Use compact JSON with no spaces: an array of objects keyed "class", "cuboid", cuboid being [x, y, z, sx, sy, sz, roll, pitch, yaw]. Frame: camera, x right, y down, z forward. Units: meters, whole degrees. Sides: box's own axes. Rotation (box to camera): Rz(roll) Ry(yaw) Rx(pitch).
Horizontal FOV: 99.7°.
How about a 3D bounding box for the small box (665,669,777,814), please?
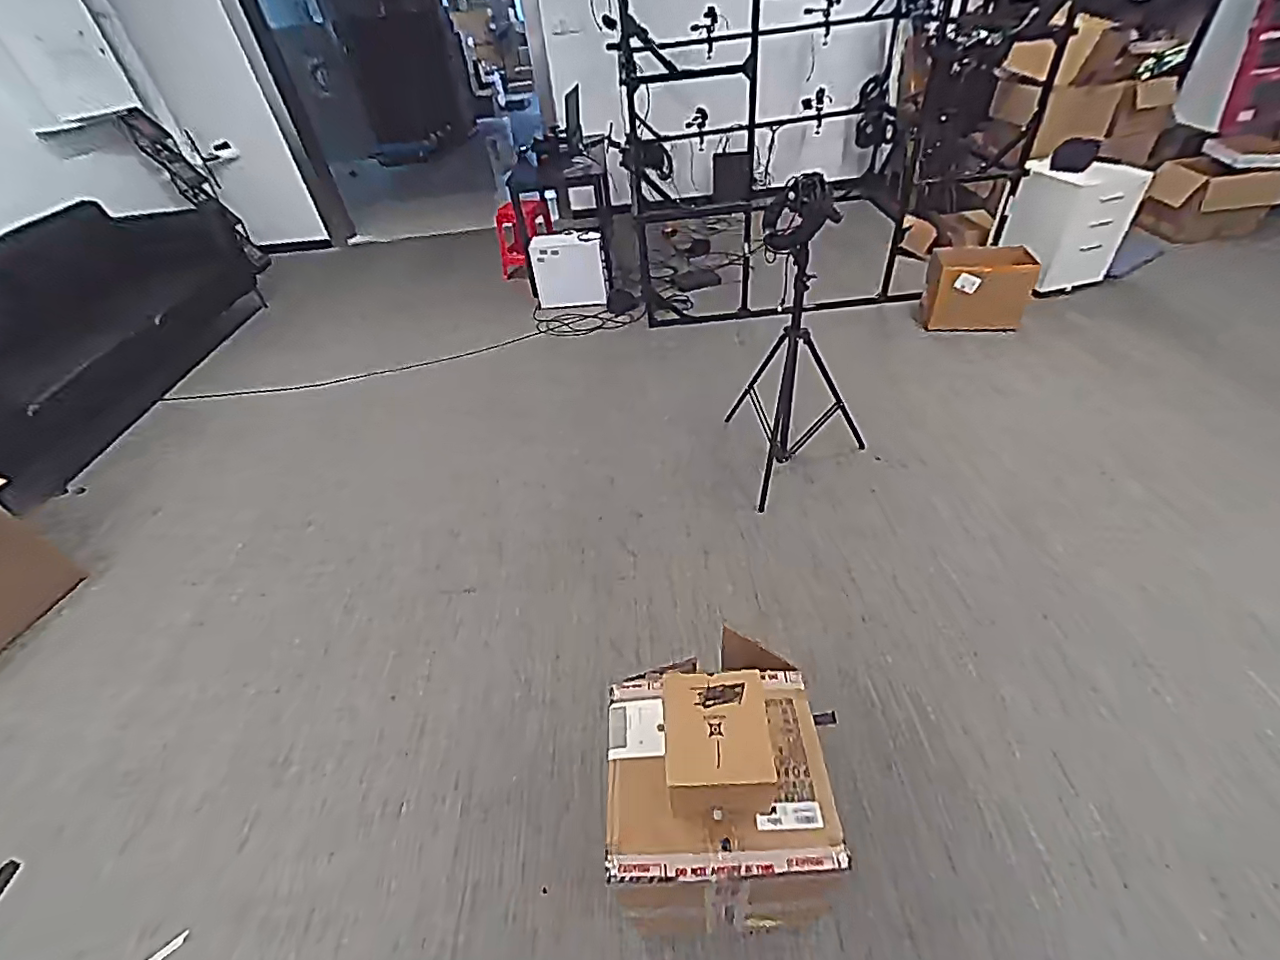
[{"class":"small box","cuboid":[0.128,0.442,0.914,0.168,0.176,0.179,-4,45,4]}]
